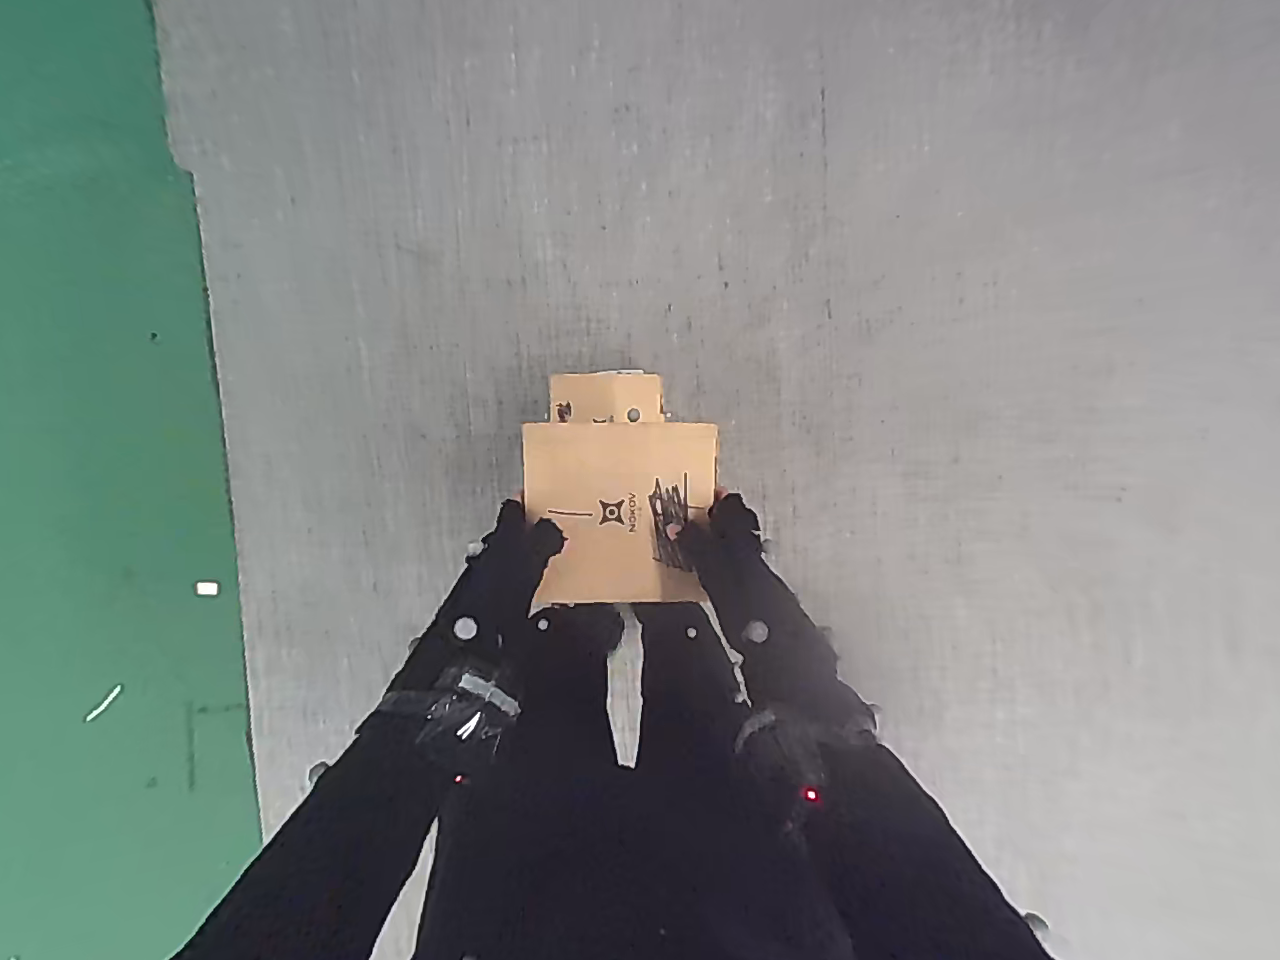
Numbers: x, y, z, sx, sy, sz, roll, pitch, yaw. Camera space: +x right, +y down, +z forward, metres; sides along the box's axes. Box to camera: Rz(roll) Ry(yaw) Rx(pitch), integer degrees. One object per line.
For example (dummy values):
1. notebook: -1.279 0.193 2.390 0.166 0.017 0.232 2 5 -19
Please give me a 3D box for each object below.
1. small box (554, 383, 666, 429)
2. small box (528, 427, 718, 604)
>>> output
1. small box: -0.047 -0.072 0.926 0.179 0.176 0.168 1 92 2
2. small box: -0.019 0.028 0.577 0.179 0.176 0.168 0 94 -1
